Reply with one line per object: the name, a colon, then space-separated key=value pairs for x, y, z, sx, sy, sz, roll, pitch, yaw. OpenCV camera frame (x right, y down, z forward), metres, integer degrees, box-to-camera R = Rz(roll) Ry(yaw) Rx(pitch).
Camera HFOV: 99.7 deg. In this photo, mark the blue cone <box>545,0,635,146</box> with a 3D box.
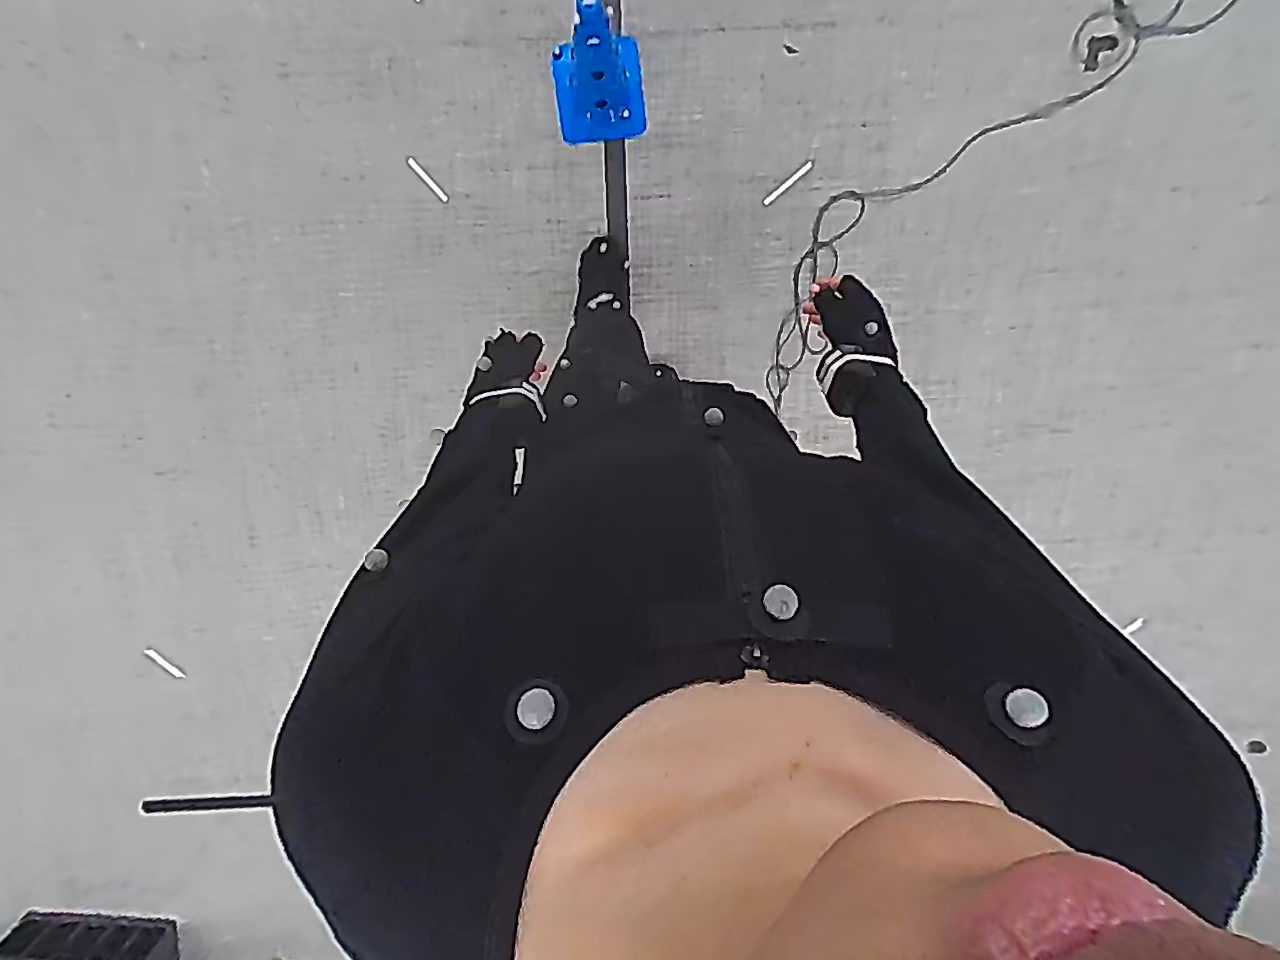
blue cone: x=-0.110 y=-0.842 z=1.082 sx=0.192 sy=0.380 sz=0.193 roll=-6 pitch=104 yaw=1
